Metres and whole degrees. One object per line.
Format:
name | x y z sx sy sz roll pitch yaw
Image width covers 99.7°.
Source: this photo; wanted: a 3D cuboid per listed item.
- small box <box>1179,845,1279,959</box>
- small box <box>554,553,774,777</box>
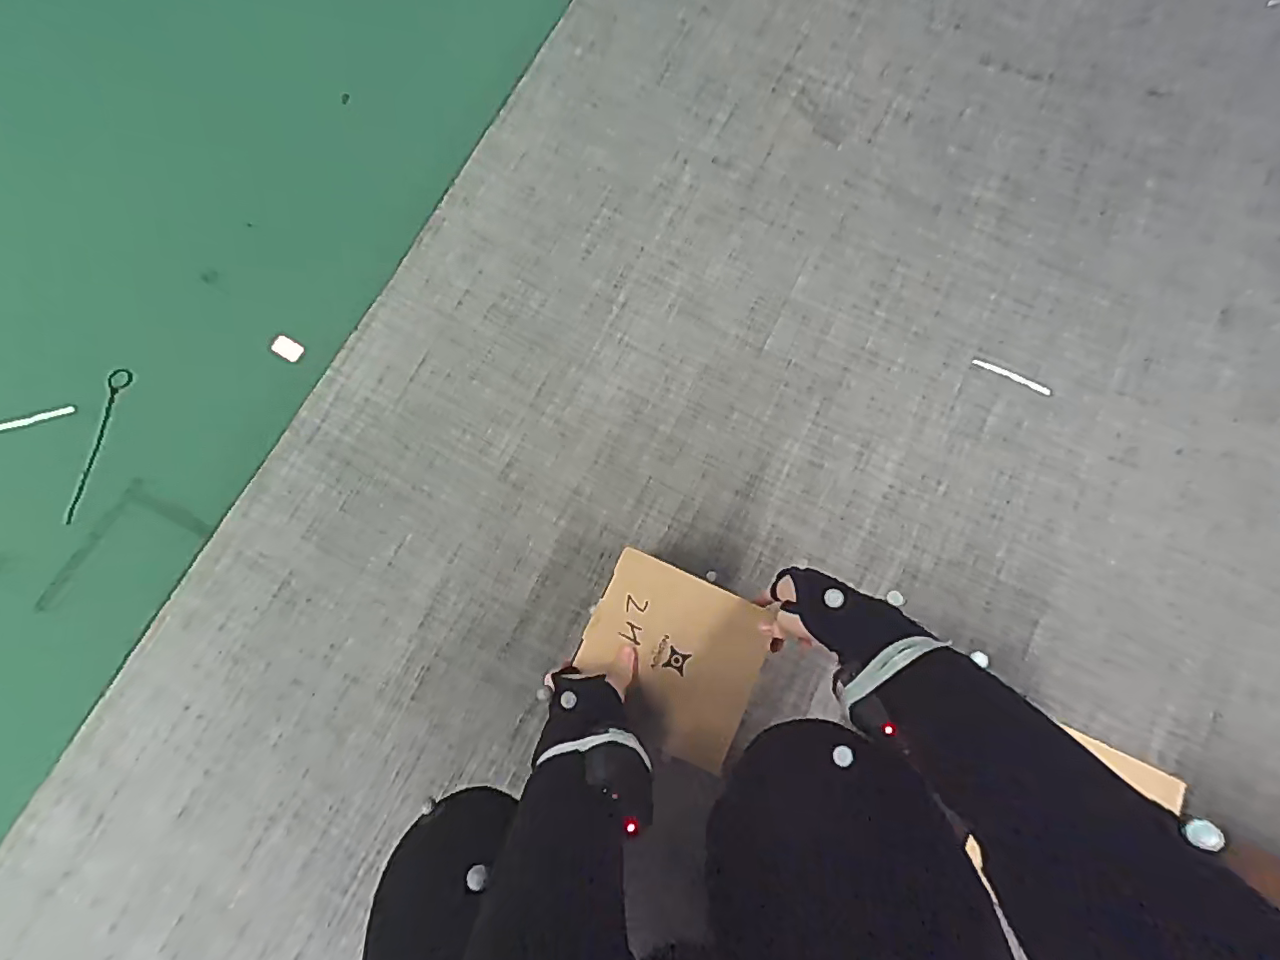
small box | 0.700 0.501 0.529 0.179 0.176 0.168 23 81 6
small box | 0.027 0.197 0.622 0.179 0.176 0.168 25 80 7
